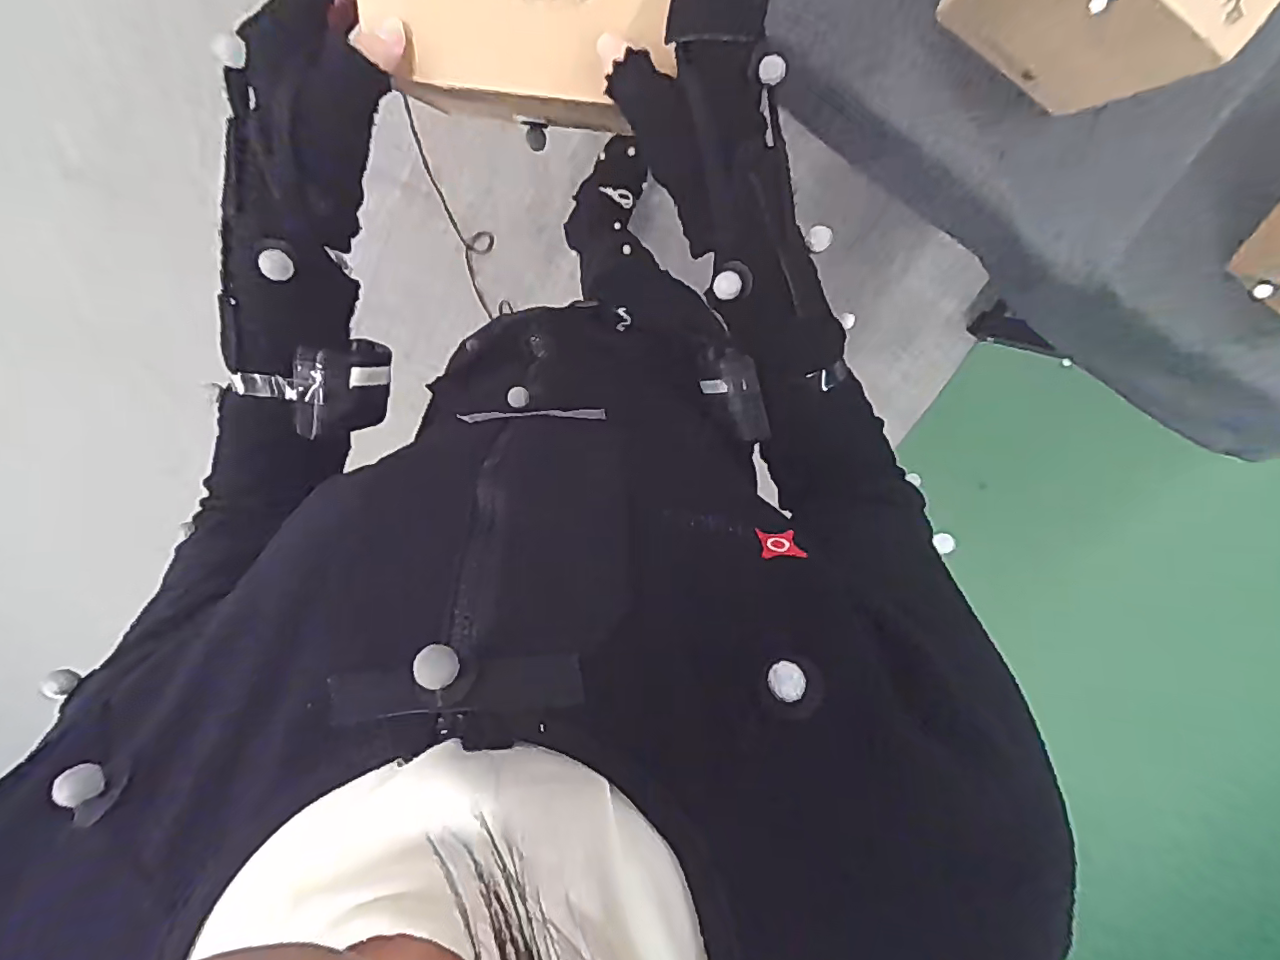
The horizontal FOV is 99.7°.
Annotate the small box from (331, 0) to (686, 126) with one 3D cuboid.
[{"bbox_3d":[-0.054,-0.316,0.295,0.168,0.176,0.179,6,118,-4],"label":"small box"}]

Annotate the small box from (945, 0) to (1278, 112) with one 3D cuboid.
[{"bbox_3d":[0.384,-0.432,0.414,0.168,0.176,0.179,27,108,-12],"label":"small box"}]
